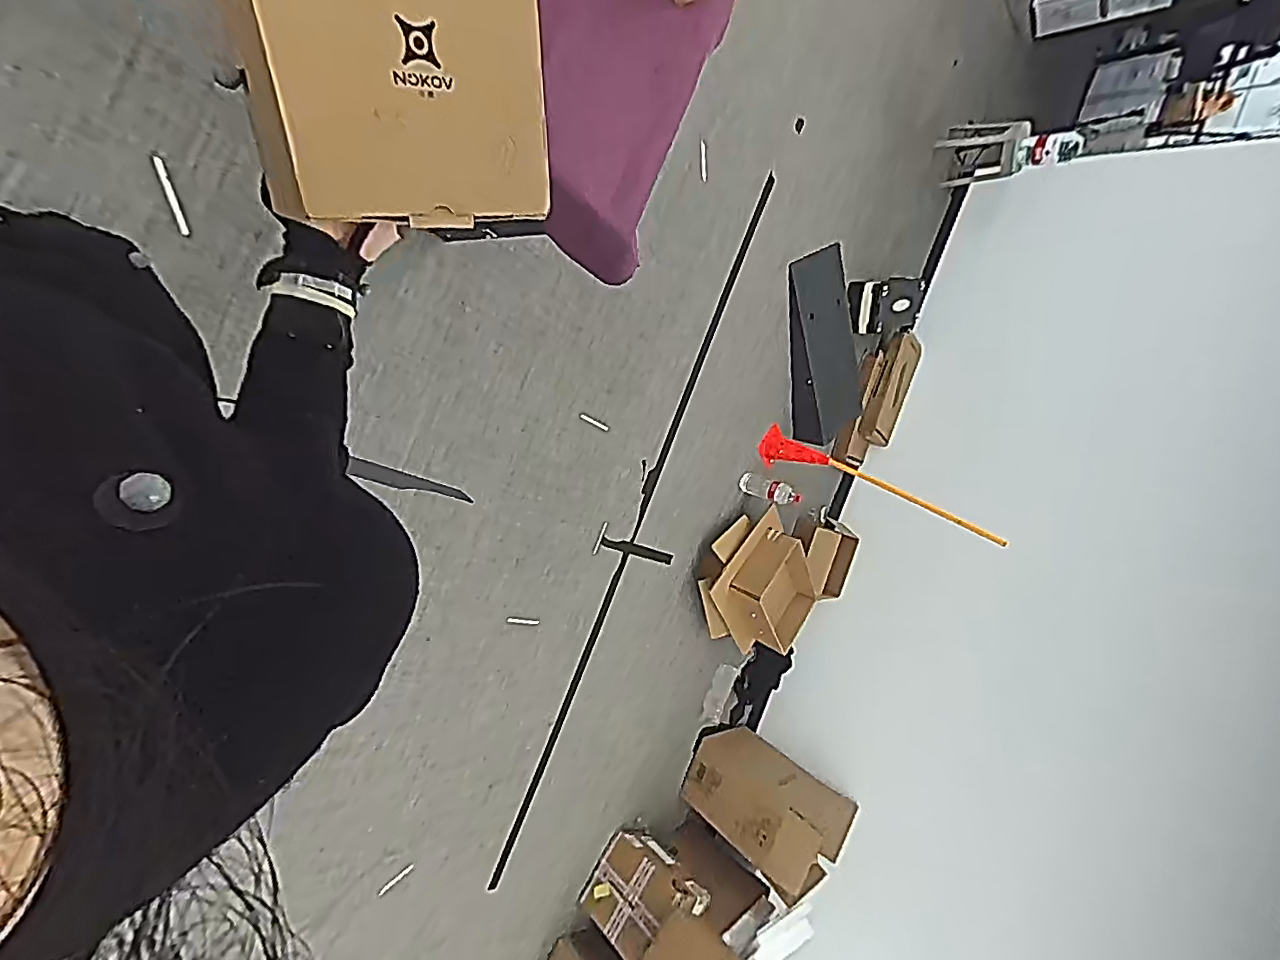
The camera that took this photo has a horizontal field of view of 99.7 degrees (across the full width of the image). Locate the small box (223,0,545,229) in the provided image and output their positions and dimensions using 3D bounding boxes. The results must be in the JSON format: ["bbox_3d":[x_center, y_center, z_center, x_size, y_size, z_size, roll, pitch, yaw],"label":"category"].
[{"bbox_3d":[-0.184,-0.286,0.395,0.168,0.176,0.179,-19,124,-33],"label":"small box"}]
